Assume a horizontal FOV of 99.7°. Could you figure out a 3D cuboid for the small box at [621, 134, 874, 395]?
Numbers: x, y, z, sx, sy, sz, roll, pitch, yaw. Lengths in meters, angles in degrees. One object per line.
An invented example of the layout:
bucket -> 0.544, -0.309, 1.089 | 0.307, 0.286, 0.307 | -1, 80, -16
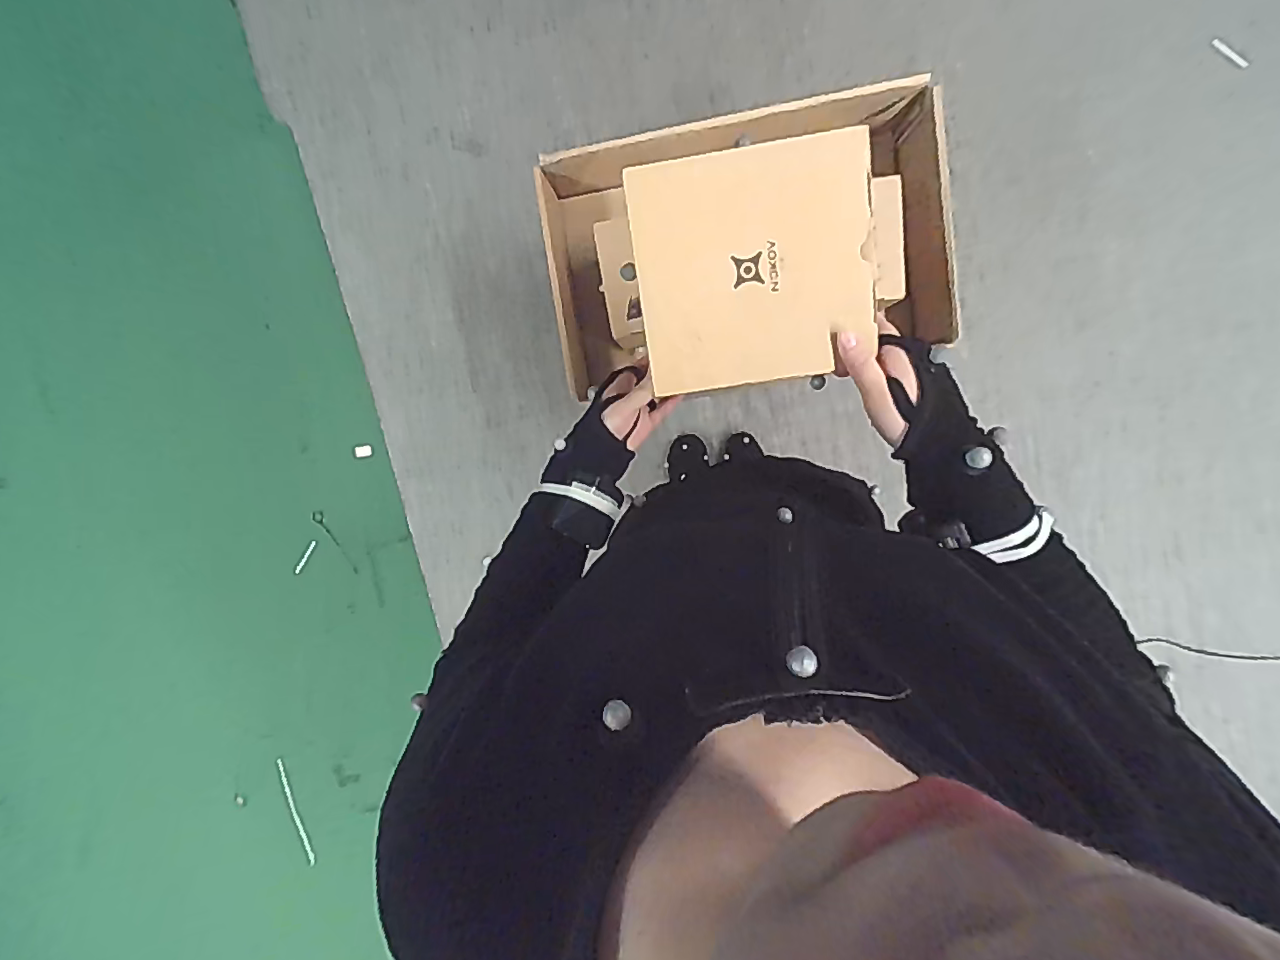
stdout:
small box -> 0.085, -0.171, 0.480 | 0.179, 0.176, 0.168 | -8, 103, 3
